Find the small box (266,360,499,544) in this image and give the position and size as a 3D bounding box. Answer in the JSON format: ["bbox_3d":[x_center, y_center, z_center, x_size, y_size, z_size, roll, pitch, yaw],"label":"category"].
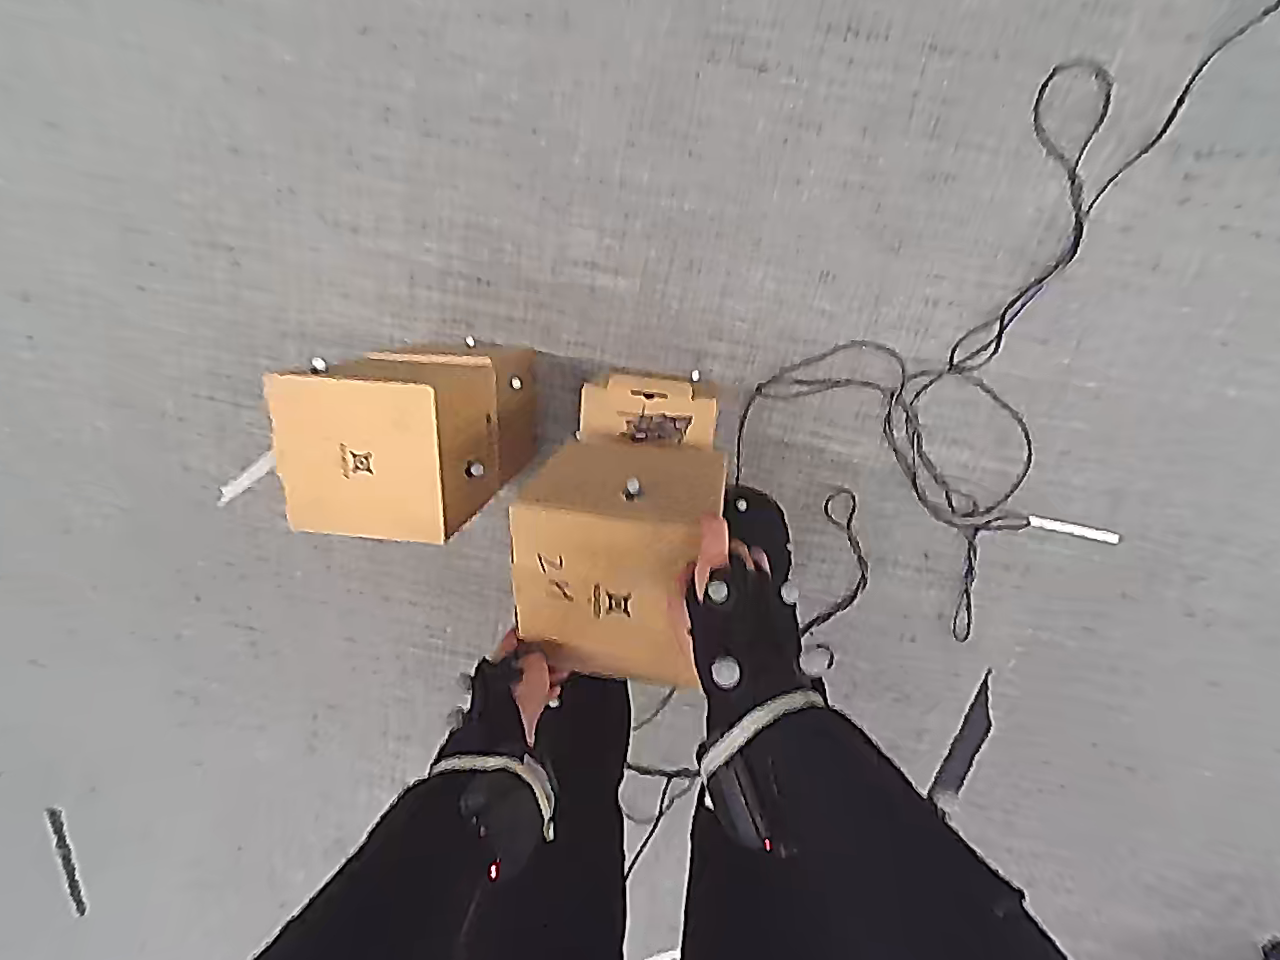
[{"bbox_3d":[-0.267,-0.042,0.610,0.179,0.176,0.168,4,108,6],"label":"small box"}]

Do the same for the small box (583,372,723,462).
[{"bbox_3d":[0.018,-0.047,0.745,0.168,0.176,0.179,8,109,5],"label":"small box"}]

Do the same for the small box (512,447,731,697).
[{"bbox_3d":[-0.008,0.075,0.524,0.179,0.176,0.168,7,113,9],"label":"small box"}]
